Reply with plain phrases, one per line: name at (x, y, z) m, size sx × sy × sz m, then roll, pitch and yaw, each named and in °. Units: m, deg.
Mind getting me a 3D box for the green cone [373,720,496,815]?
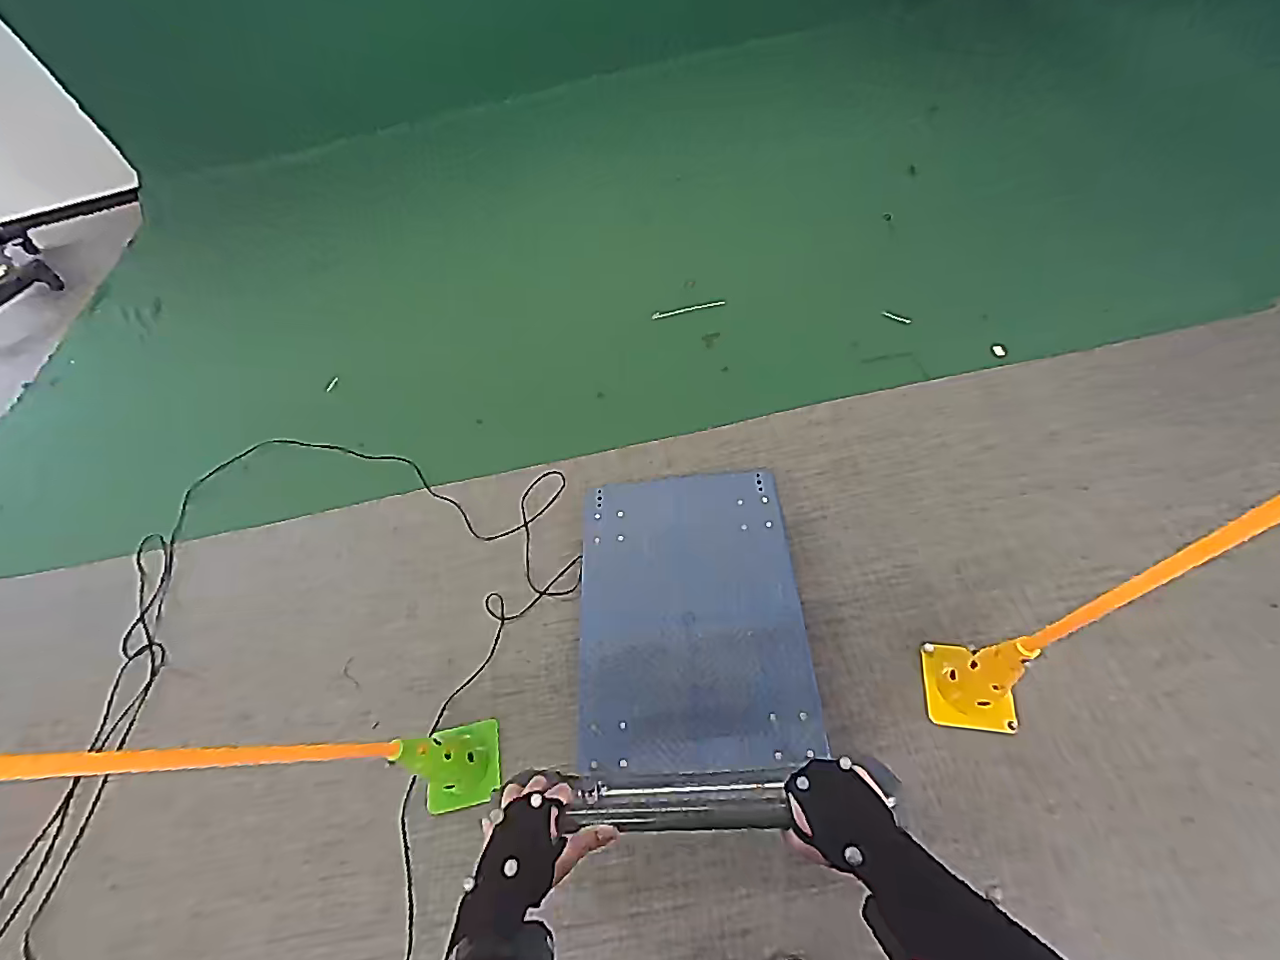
green cone at (-0.513, 0.668, 1.299) m, size 0.202 × 0.368 × 0.200 m, roll -16°, pitch 55°, yaw 2°
